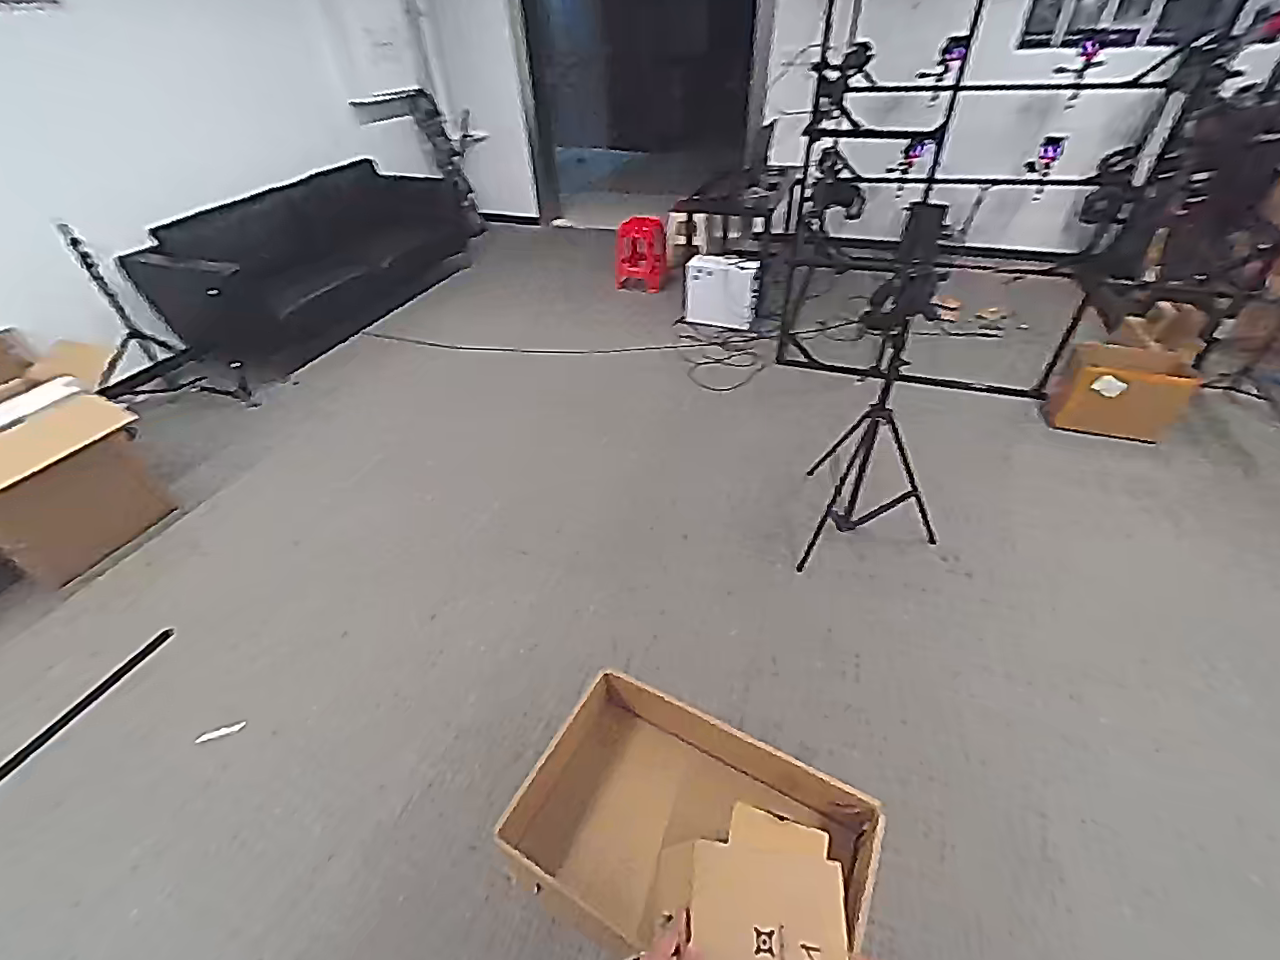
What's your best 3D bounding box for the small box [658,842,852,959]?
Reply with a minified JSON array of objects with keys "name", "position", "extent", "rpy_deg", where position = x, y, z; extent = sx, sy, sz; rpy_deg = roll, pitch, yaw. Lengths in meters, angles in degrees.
[{"name":"small box","position":[0.120,0.528,0.610],"extent":[0.179,0.176,0.168],"rpy_deg":[12,51,-4]}]
